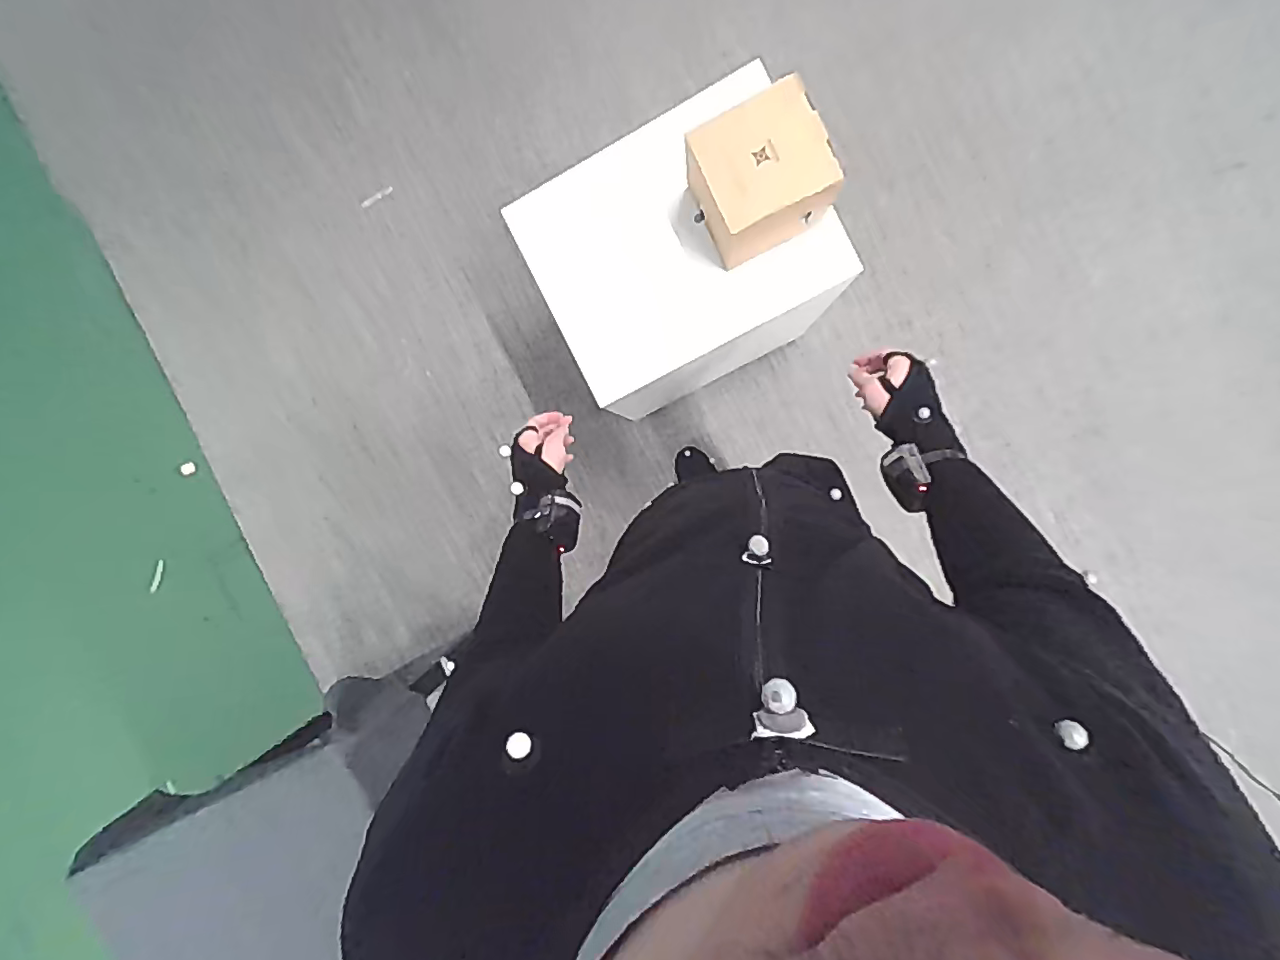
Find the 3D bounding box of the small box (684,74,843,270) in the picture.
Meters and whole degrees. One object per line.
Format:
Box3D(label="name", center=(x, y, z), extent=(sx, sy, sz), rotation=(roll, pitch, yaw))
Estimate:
Box3D(label="small box", center=(0.181, -0.458, 0.836), extent=(0.179, 0.176, 0.168), rotation=(-25, 90, 9))
